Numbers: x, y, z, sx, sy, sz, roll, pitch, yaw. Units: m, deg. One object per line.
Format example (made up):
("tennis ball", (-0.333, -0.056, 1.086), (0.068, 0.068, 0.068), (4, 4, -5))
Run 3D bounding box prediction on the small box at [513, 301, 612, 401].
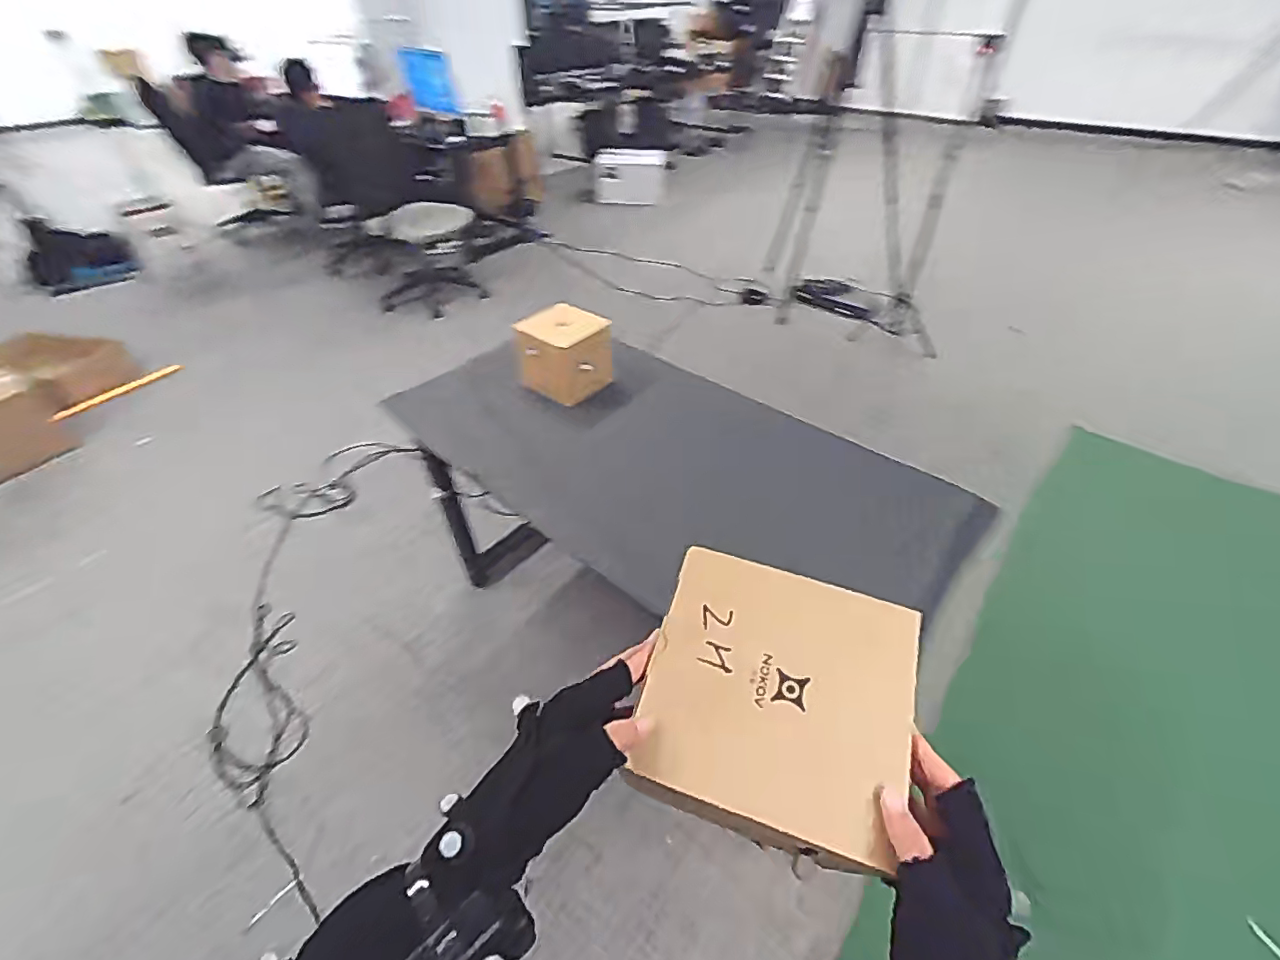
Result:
("small box", (-0.186, -0.318, 1.353), (0.179, 0.176, 0.168), (28, 51, 29))
